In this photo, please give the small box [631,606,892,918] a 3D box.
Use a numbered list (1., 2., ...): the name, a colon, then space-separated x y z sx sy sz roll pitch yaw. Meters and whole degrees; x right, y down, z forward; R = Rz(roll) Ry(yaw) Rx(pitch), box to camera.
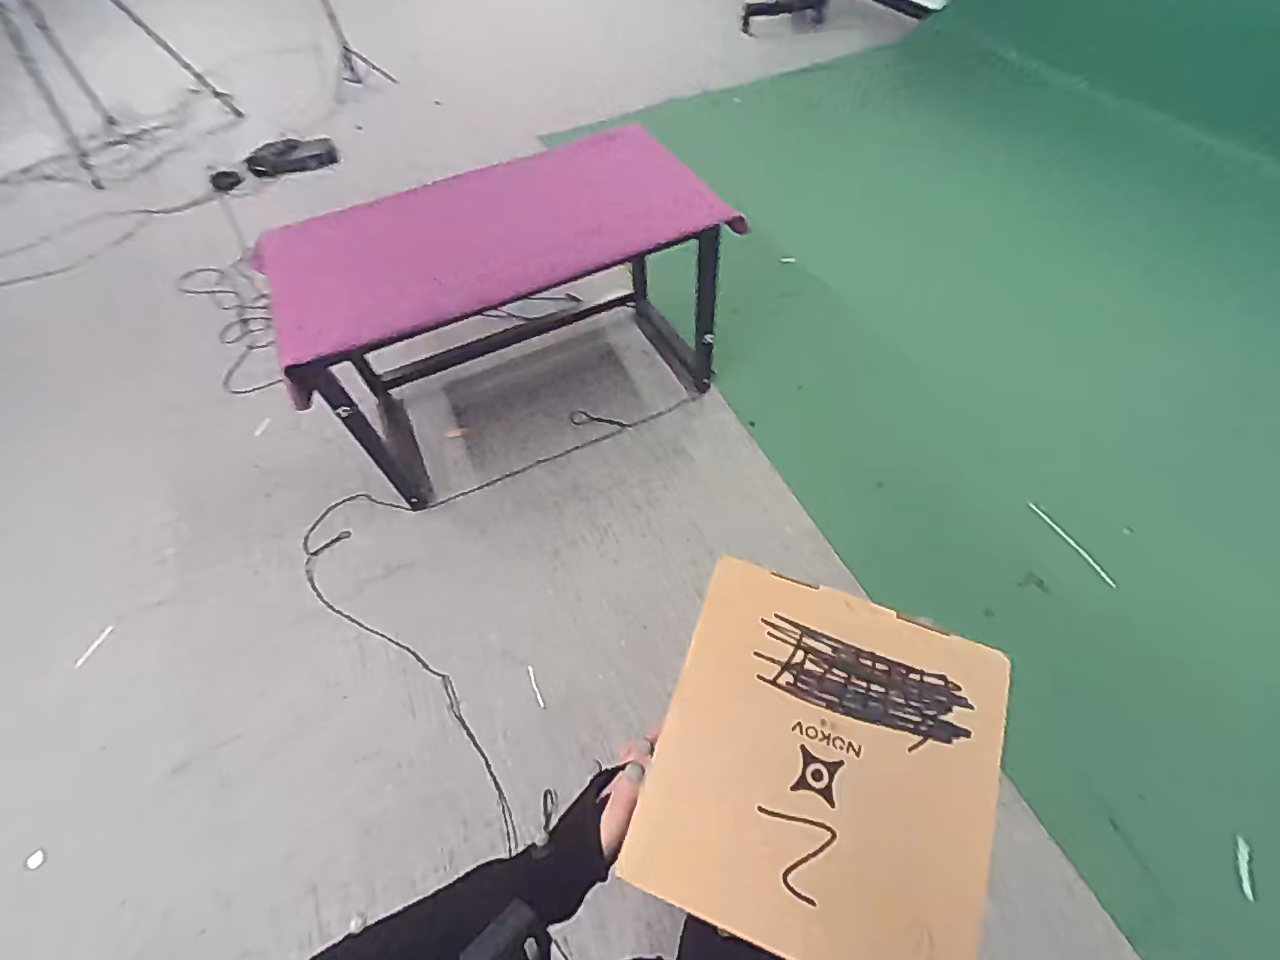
1. small box: 0.103 0.241 0.495 0.168 0.176 0.179 19 67 10
